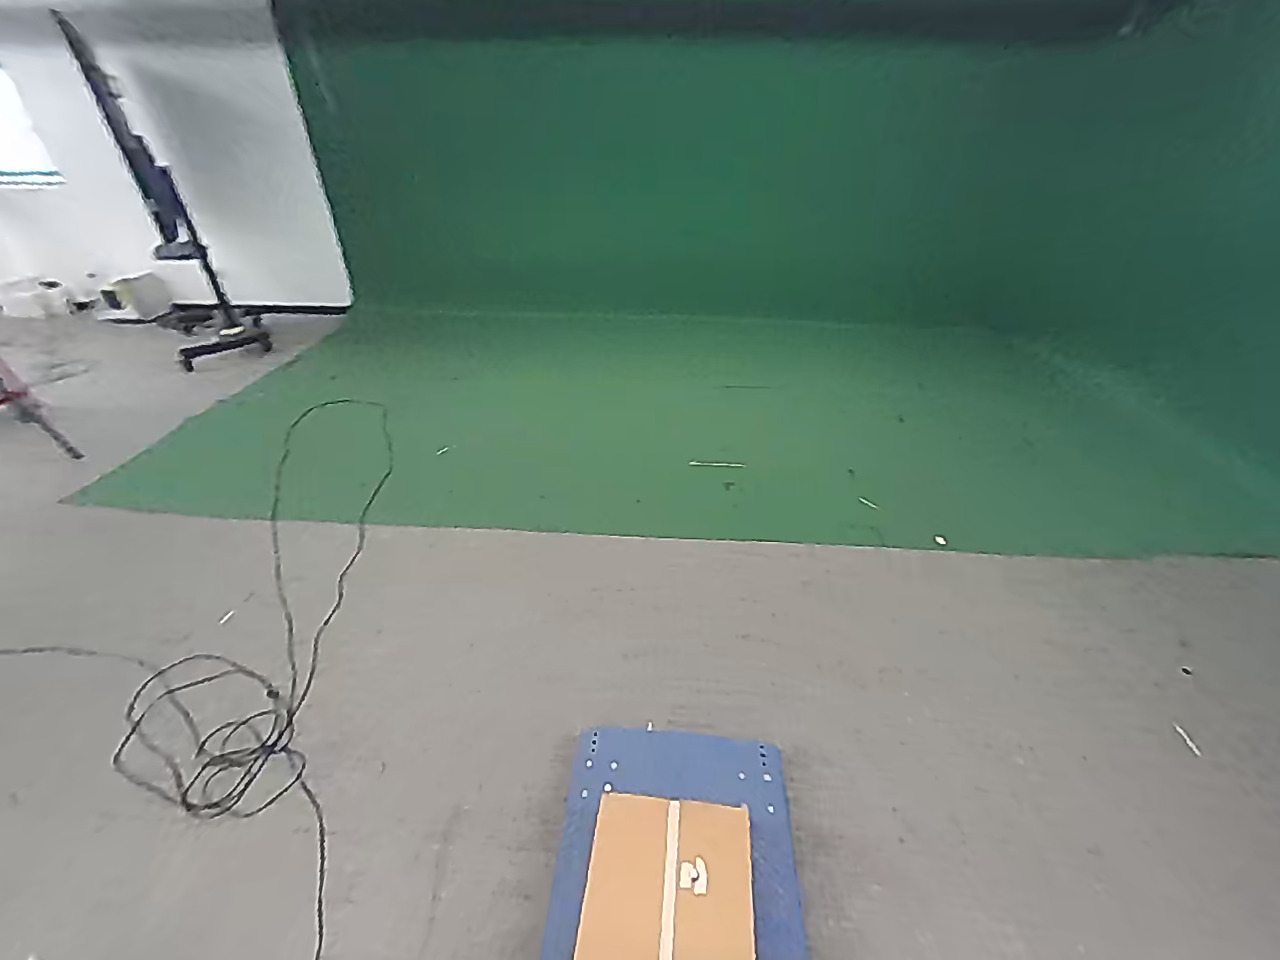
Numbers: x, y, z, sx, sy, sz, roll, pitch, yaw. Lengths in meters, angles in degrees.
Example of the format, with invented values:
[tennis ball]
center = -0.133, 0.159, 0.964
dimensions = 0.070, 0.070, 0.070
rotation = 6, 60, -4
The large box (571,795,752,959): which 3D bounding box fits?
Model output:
[large box]
center = 0.044, 0.918, 1.066
dimensions = 0.320, 0.320, 0.408
rotation = 4, 34, 5
